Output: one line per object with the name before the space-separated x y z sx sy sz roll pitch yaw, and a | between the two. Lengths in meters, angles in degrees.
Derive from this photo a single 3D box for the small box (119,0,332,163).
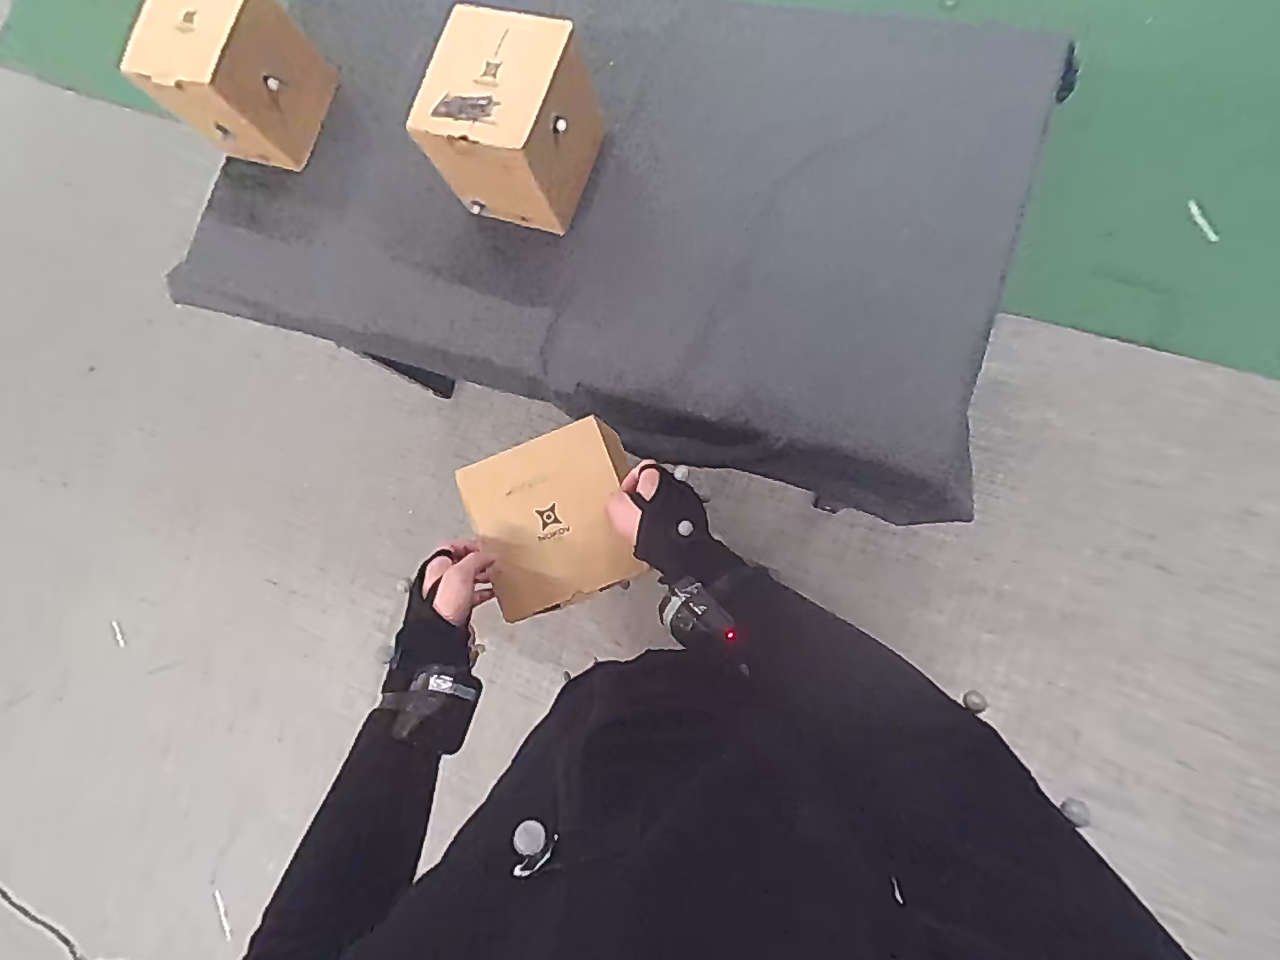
small box | -0.609 -0.621 0.817 0.168 0.176 0.179 17 87 10

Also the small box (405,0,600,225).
small box | -0.168 -0.475 0.720 0.168 0.176 0.179 19 86 12

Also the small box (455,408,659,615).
small box | -0.083 0.034 0.638 0.168 0.176 0.179 -21 86 5
